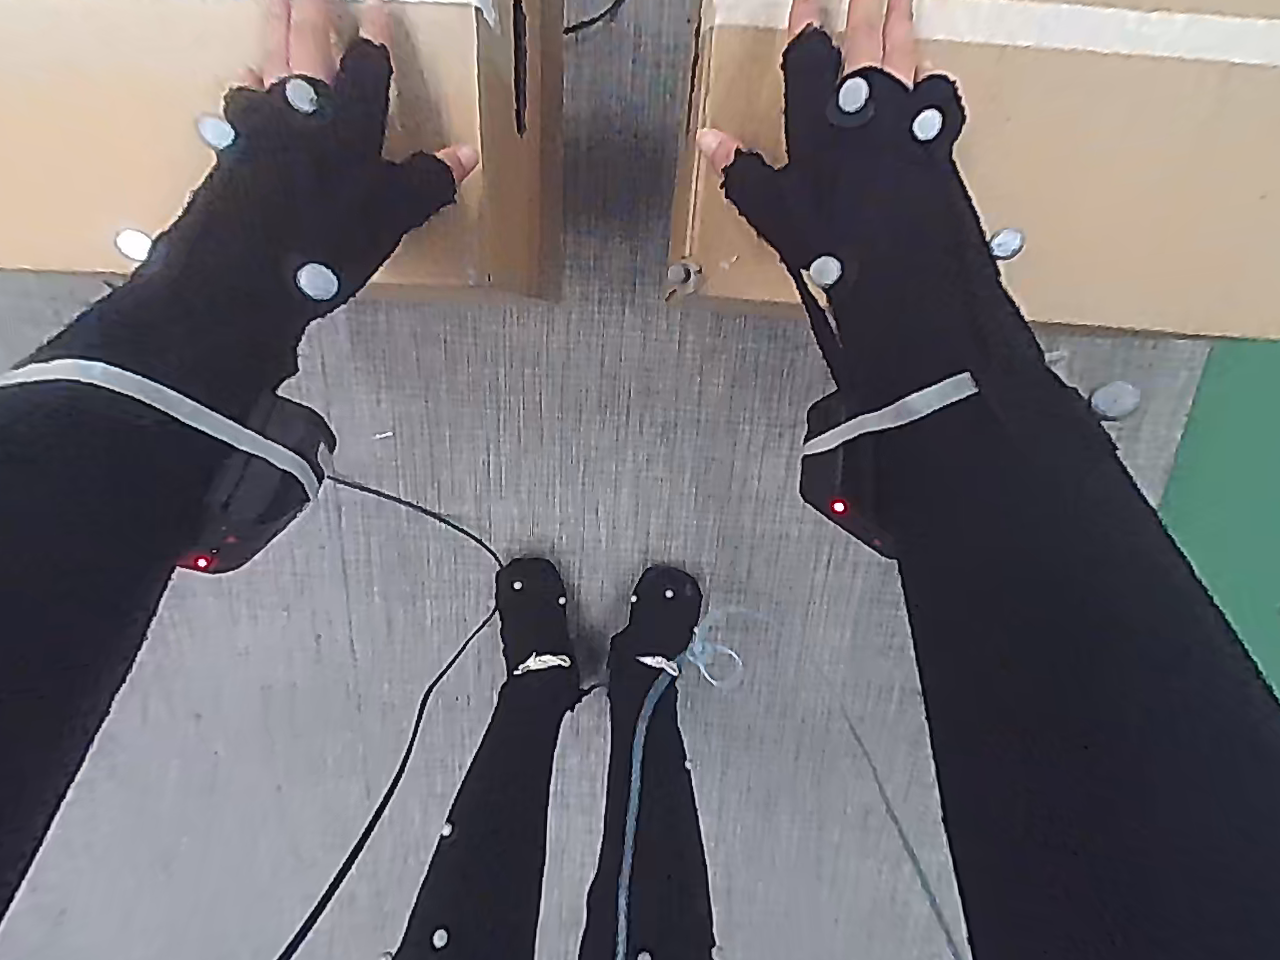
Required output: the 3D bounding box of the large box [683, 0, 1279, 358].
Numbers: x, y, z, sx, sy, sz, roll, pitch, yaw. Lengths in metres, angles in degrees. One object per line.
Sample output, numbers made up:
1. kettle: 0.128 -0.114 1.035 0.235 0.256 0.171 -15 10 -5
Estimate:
1. large box: 0.258 -0.290 0.484 0.408 0.320 0.320 5 106 0
